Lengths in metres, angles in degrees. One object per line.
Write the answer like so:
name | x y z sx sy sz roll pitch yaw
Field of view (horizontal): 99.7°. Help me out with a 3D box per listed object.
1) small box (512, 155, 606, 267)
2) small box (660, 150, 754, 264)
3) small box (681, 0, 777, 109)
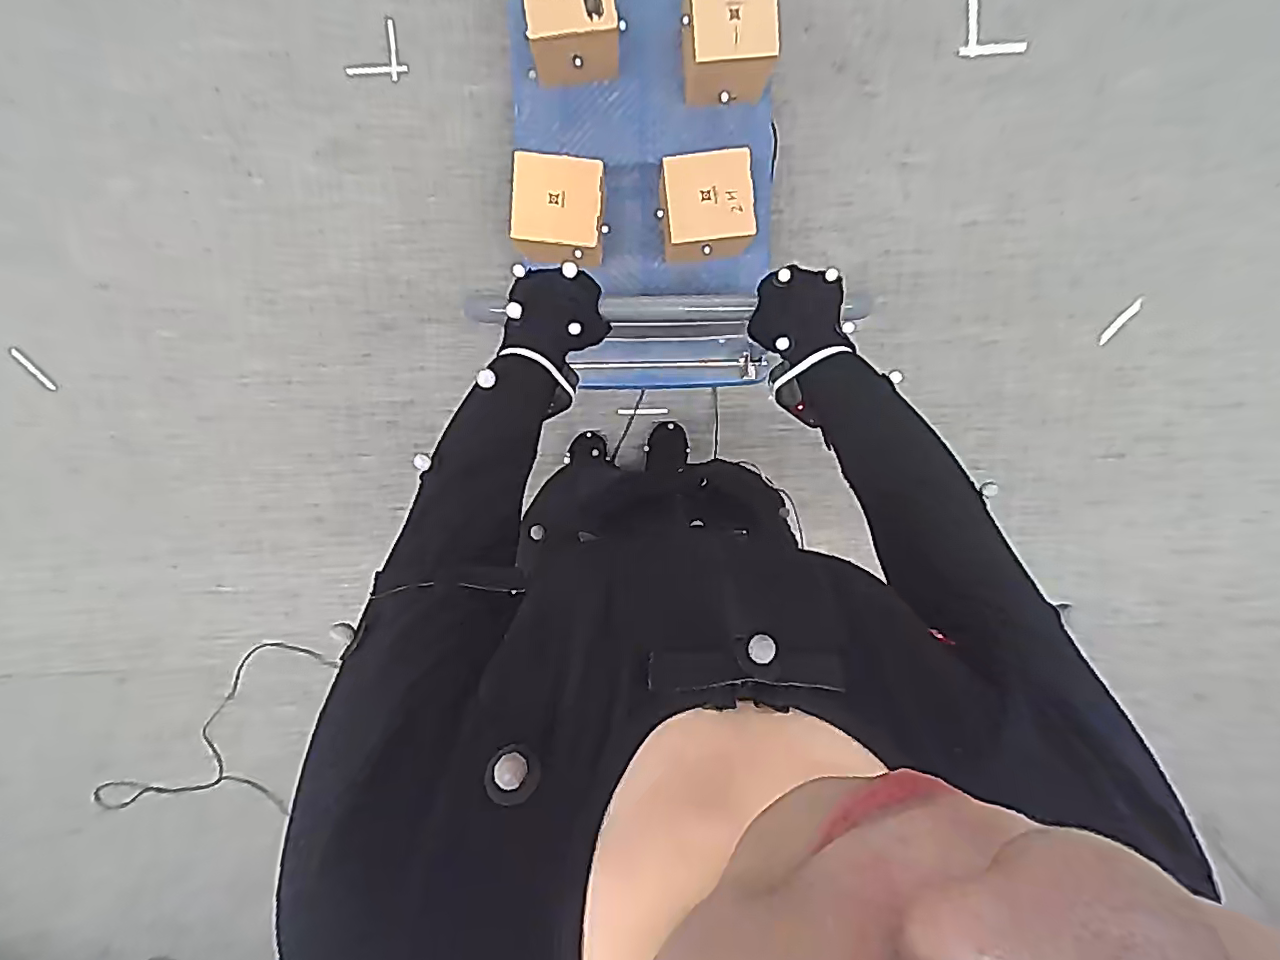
small box | -0.169 -0.568 1.163 0.179 0.176 0.168 4 97 -3
small box | 0.137 -0.578 1.167 0.179 0.176 0.168 -7 98 0
small box | 0.178 -0.912 1.122 0.168 0.176 0.179 -5 99 0
